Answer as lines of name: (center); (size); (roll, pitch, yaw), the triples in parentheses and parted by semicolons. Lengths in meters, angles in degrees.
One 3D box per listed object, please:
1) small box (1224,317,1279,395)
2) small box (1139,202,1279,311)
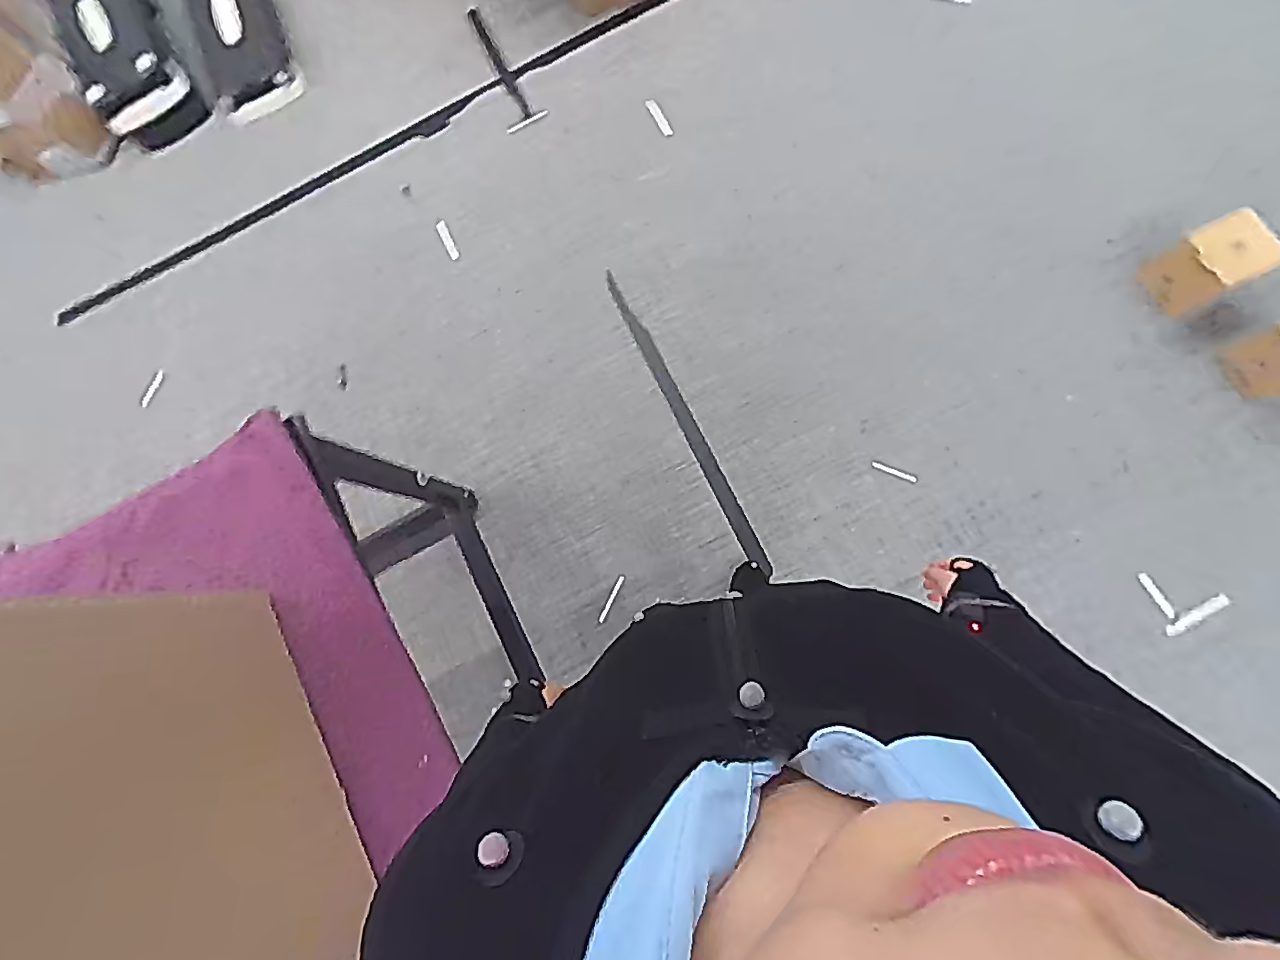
small box: (1.659, -0.337, 1.367); (0.179, 0.176, 0.168); (-24, 79, 1)
small box: (1.503, -0.583, 1.431); (0.179, 0.176, 0.168); (-27, 78, 1)
